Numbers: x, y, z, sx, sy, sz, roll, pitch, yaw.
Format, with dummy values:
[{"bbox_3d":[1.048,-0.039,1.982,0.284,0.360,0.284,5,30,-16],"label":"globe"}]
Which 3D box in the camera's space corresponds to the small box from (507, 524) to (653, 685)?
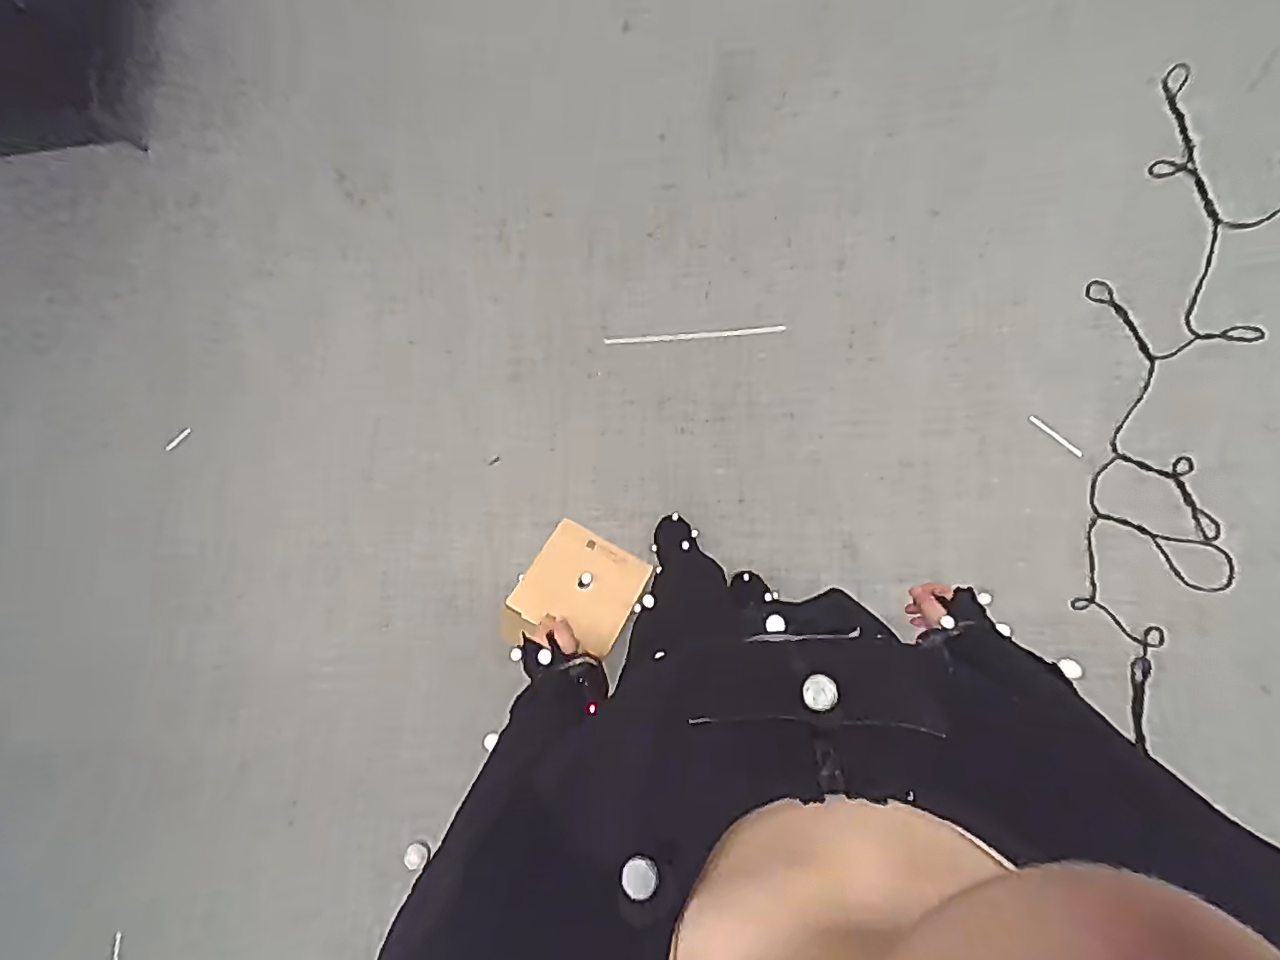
[{"bbox_3d":[-0.096,0.199,0.874,0.168,0.179,0.176,30,56,4],"label":"small box"}]
